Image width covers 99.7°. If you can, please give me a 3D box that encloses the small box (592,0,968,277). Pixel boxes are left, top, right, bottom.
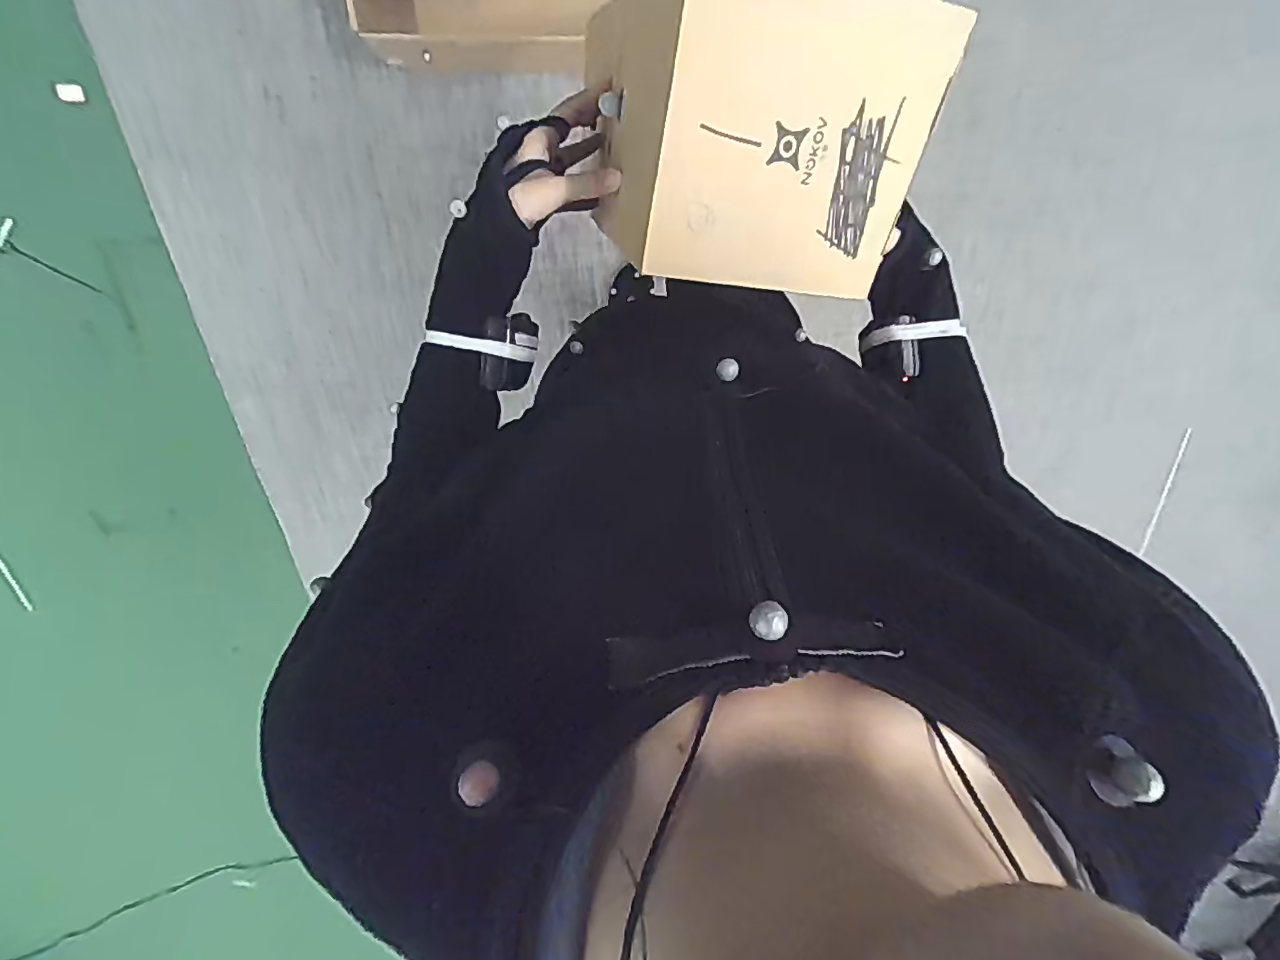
[{"bbox_3d":[0.072,-0.259,0.385,0.179,0.176,0.168,1,124,-16],"label":"small box"}]
